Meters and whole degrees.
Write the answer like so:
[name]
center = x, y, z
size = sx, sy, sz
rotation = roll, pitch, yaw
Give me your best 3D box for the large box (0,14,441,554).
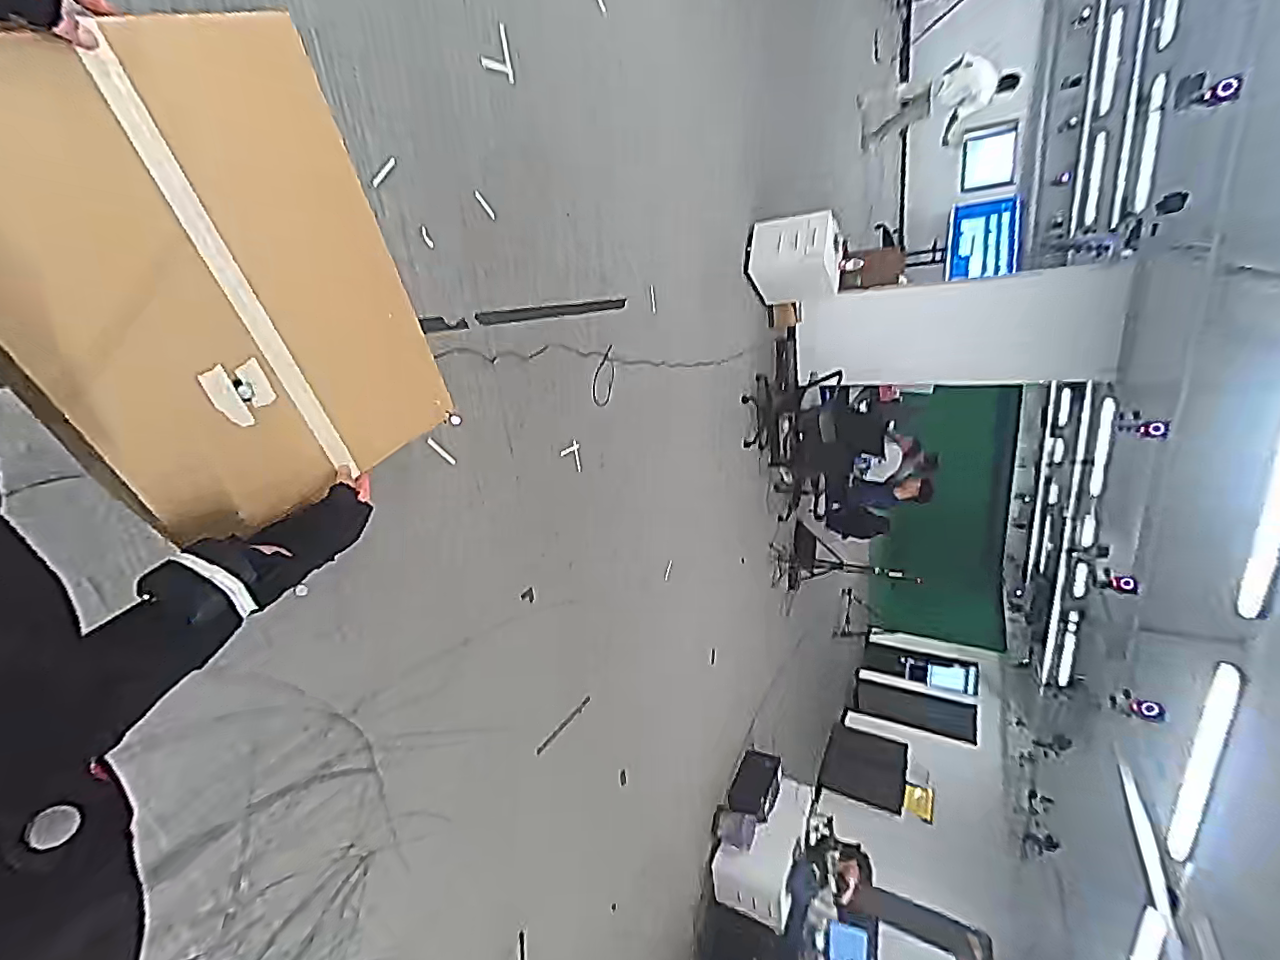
[large box]
center = -0.497, -0.200, 0.576
size = 0.320, 0.320, 0.408
rotation = -45, 138, -37
